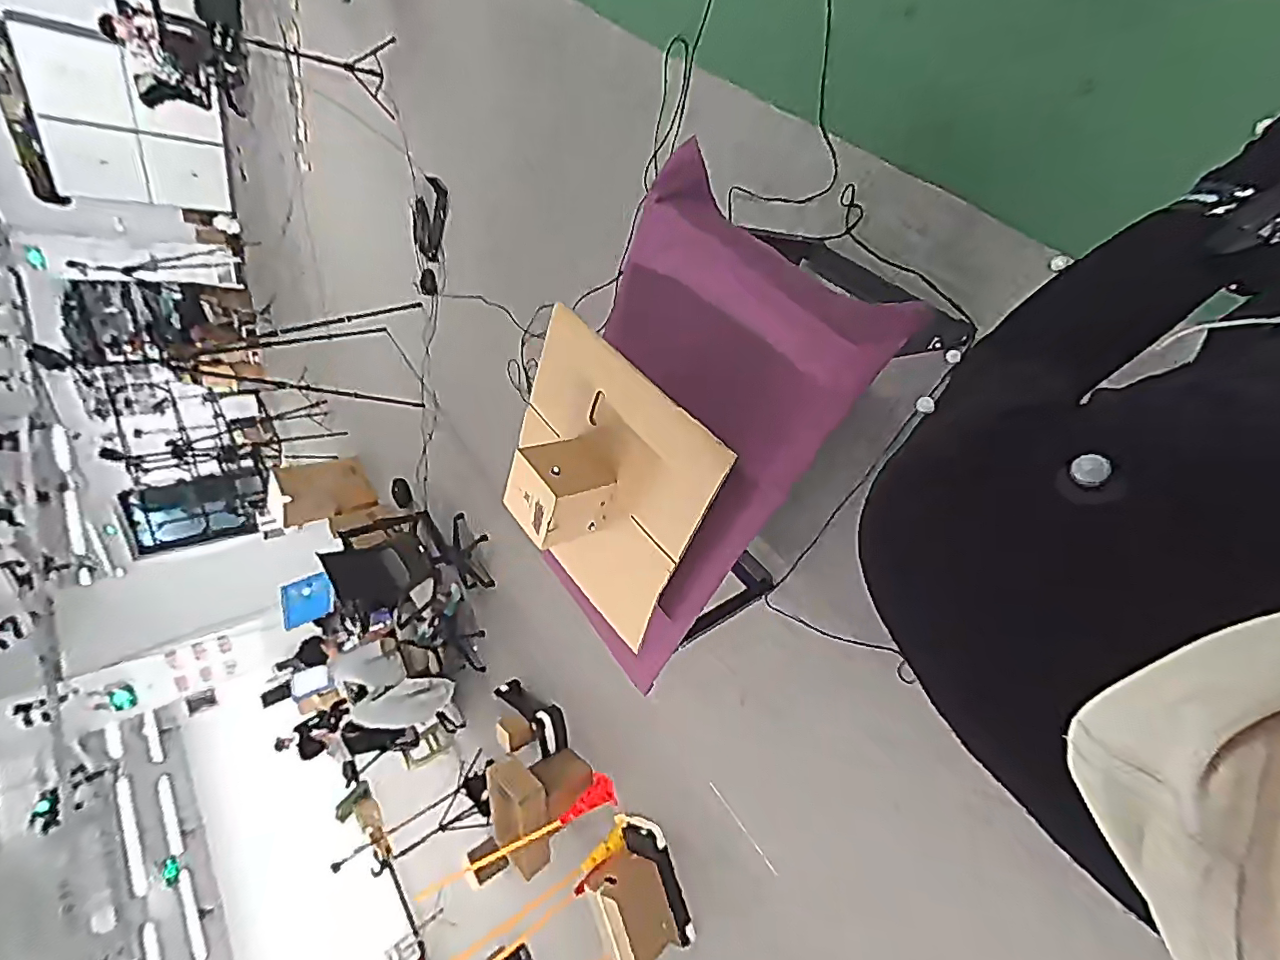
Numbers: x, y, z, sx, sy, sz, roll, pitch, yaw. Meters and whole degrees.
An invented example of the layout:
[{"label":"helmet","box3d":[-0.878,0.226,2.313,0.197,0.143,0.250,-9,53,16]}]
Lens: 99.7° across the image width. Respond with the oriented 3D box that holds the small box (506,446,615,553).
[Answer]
[{"label":"small box","box3d":[-0.184,0.037,1.259,0.179,0.176,0.168,46,130,29]}]
